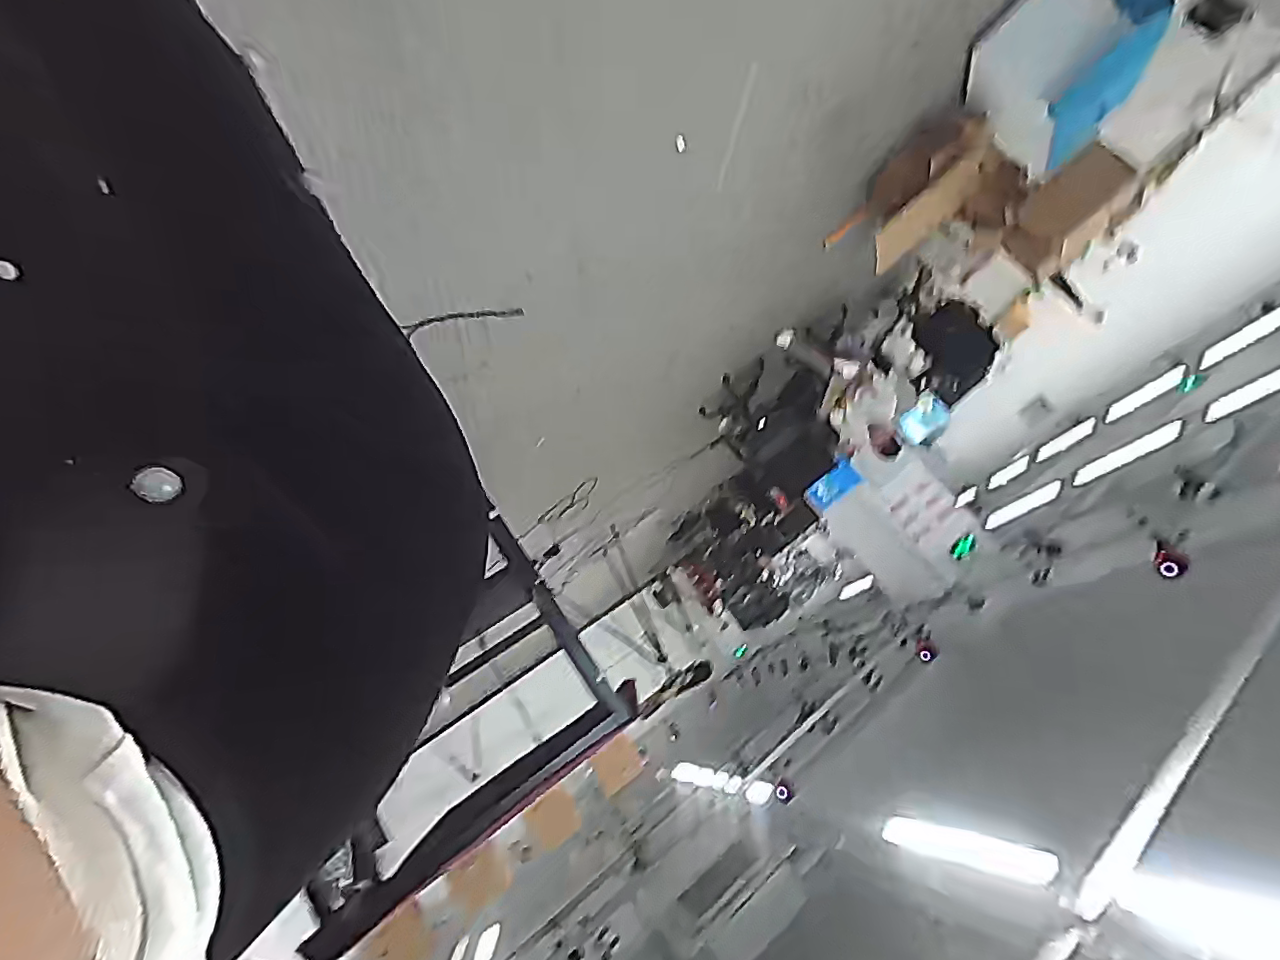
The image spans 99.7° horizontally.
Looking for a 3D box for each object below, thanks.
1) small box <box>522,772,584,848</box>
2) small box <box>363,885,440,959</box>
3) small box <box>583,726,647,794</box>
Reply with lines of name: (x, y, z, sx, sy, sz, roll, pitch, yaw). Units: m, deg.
small box: (-0.328, 1.224, 2.019, 0.168, 0.176, 0.179, -31, 166, -21)
small box: (-0.807, 1.529, 1.832, 0.168, 0.176, 0.179, -31, 166, -22)
small box: (-0.101, 1.091, 2.123, 0.179, 0.176, 0.168, -30, 164, -20)
